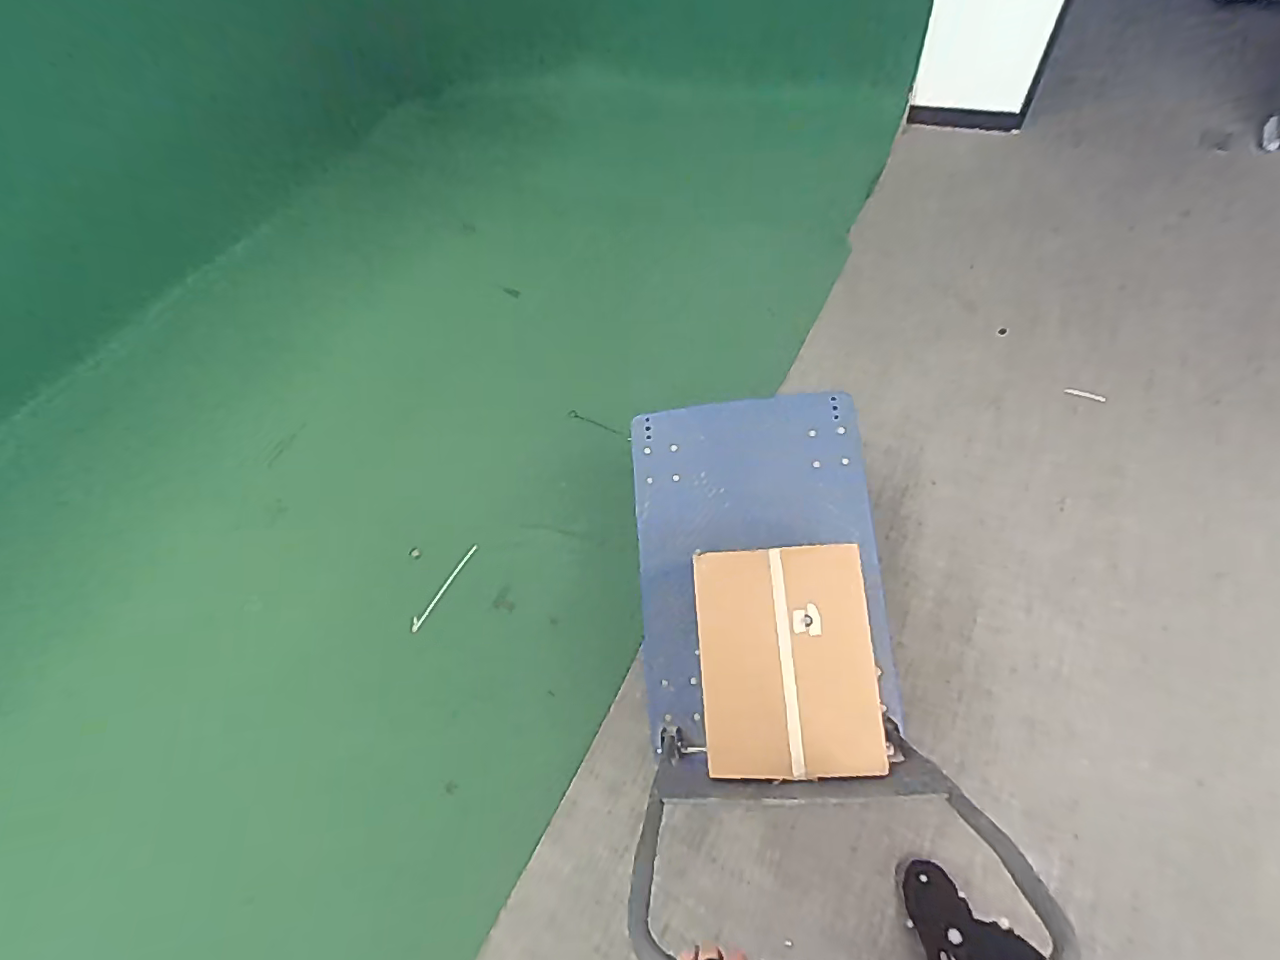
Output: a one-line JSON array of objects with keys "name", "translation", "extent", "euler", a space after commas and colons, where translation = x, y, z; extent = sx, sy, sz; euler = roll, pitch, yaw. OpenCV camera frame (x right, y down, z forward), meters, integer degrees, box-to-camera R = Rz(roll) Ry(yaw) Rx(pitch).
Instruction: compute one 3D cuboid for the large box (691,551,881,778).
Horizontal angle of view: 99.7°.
[{"name": "large box", "translation": [0.288, 0.375, 1.156], "extent": [0.320, 0.320, 0.408], "euler": [-4, 77, 8]}]
